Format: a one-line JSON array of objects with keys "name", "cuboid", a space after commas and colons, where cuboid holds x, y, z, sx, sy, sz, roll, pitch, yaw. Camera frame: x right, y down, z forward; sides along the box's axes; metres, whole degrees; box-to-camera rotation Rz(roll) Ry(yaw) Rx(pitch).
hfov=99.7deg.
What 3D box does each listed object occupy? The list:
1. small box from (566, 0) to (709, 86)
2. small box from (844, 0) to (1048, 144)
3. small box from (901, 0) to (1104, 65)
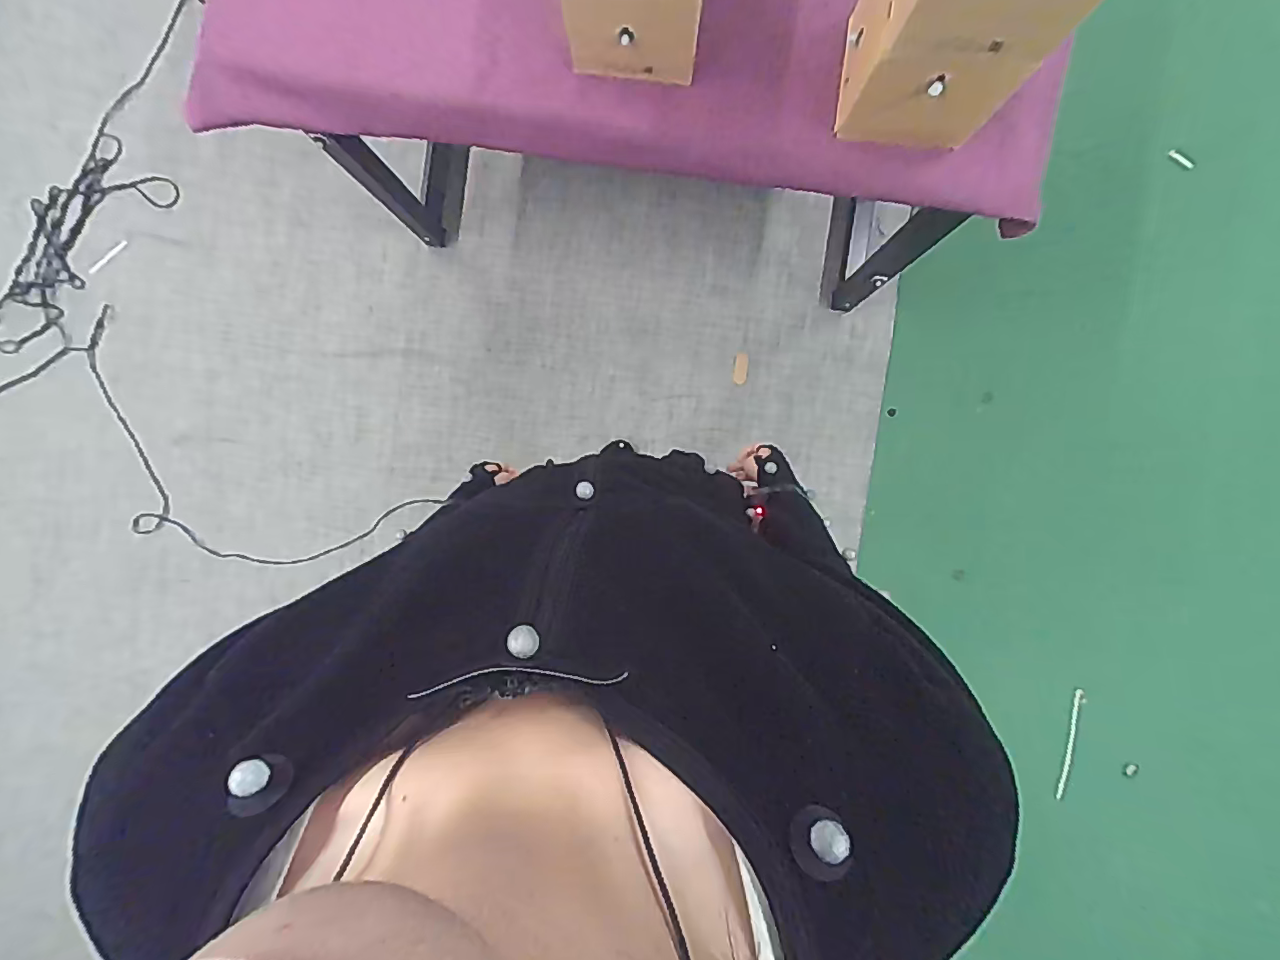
[{"name": "small box", "cuboid": [0.007, -0.645, 0.685, 0.168, 0.176, 0.179, 8, 91, 2]}, {"name": "small box", "cuboid": [0.374, -0.547, 0.669, 0.179, 0.176, 0.168, 7, 93, 4]}, {"name": "small box", "cuboid": [0.367, -0.543, 0.506, 0.168, 0.176, 0.179, 7, 92, 5]}]
